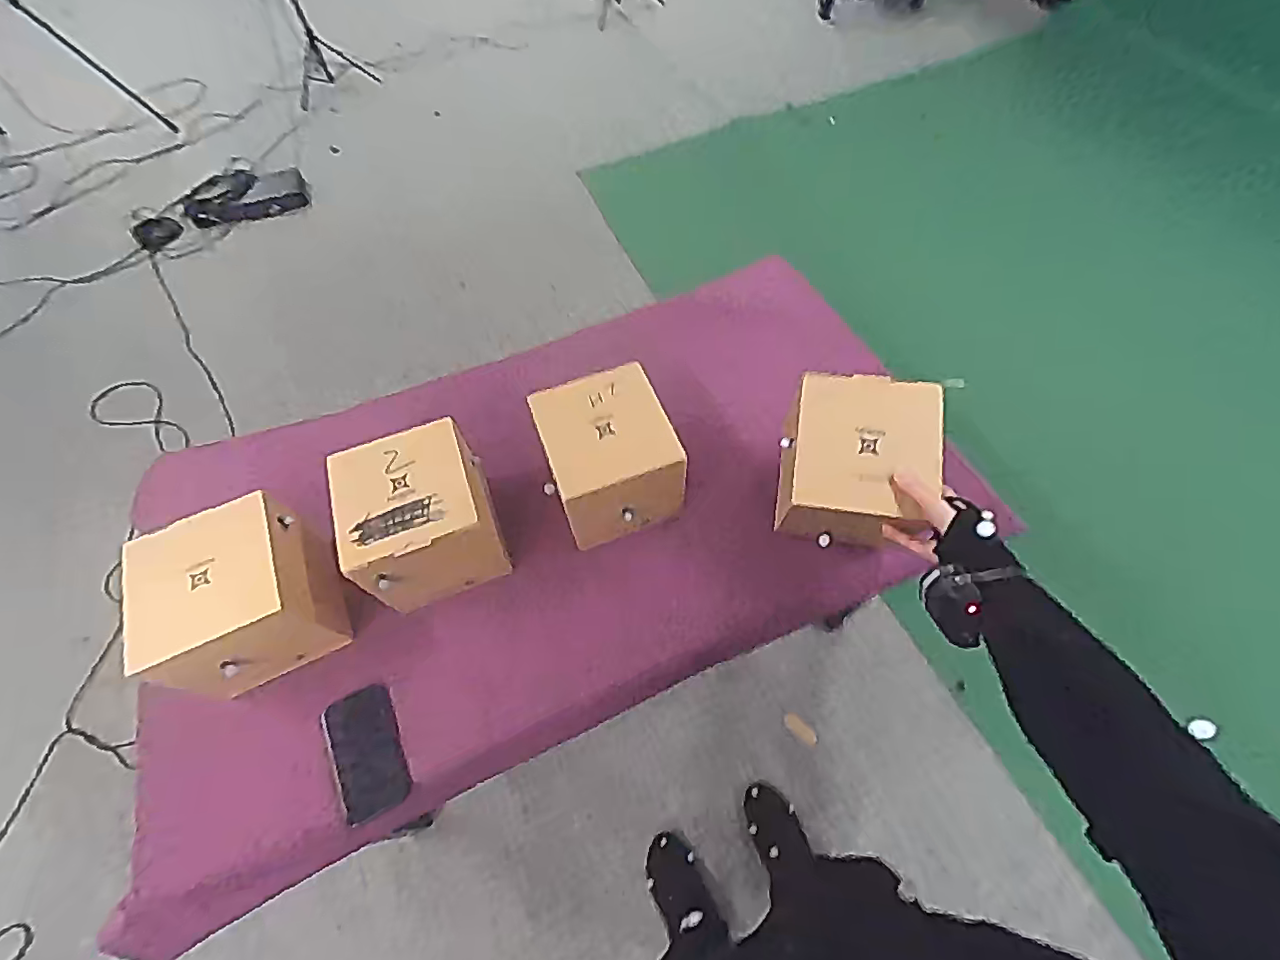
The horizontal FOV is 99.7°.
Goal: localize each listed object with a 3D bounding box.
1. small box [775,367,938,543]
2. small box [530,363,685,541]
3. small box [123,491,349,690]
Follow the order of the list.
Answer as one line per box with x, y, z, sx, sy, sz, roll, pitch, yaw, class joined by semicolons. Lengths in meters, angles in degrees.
0.275;-0.026;0.714;0.168;0.176;0.179;6;73;10;small box
-0.042;-0.030;0.775;0.168;0.176;0.179;-19;61;-9;small box
-0.503;0.150;0.693;0.168;0.176;0.179;-25;61;-11;small box
